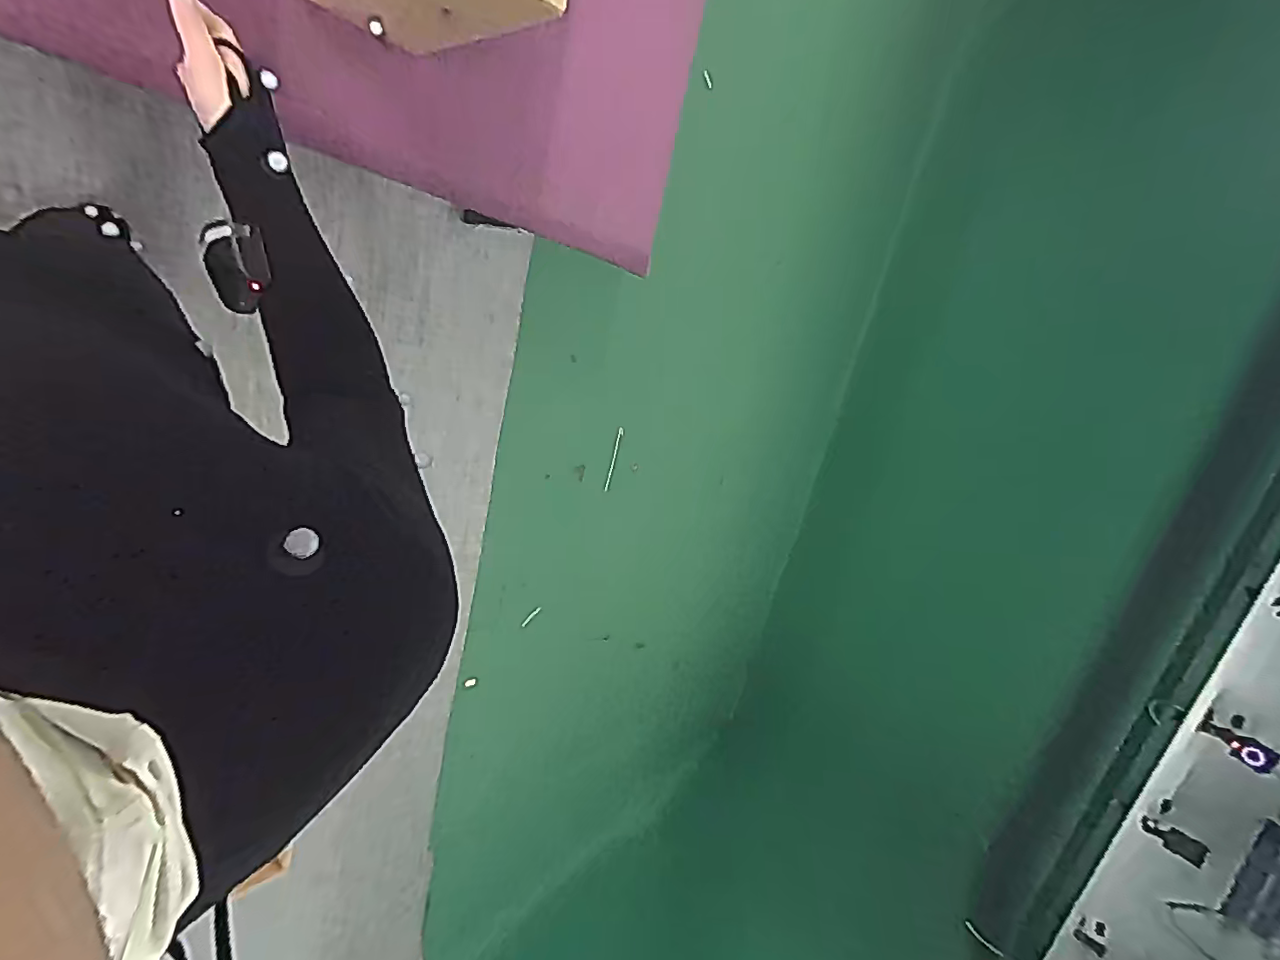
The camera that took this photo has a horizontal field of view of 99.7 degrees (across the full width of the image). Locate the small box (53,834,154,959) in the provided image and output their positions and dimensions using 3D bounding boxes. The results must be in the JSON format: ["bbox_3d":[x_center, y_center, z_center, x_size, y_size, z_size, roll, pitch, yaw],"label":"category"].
[{"bbox_3d":[-1.400,1.068,1.407,0.168,0.176,0.179,1,111,-51],"label":"small box"}]

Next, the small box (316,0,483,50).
[{"bbox_3d":[-0.299,-0.662,0.647,0.168,0.176,0.179,-7,115,-49],"label":"small box"}]
